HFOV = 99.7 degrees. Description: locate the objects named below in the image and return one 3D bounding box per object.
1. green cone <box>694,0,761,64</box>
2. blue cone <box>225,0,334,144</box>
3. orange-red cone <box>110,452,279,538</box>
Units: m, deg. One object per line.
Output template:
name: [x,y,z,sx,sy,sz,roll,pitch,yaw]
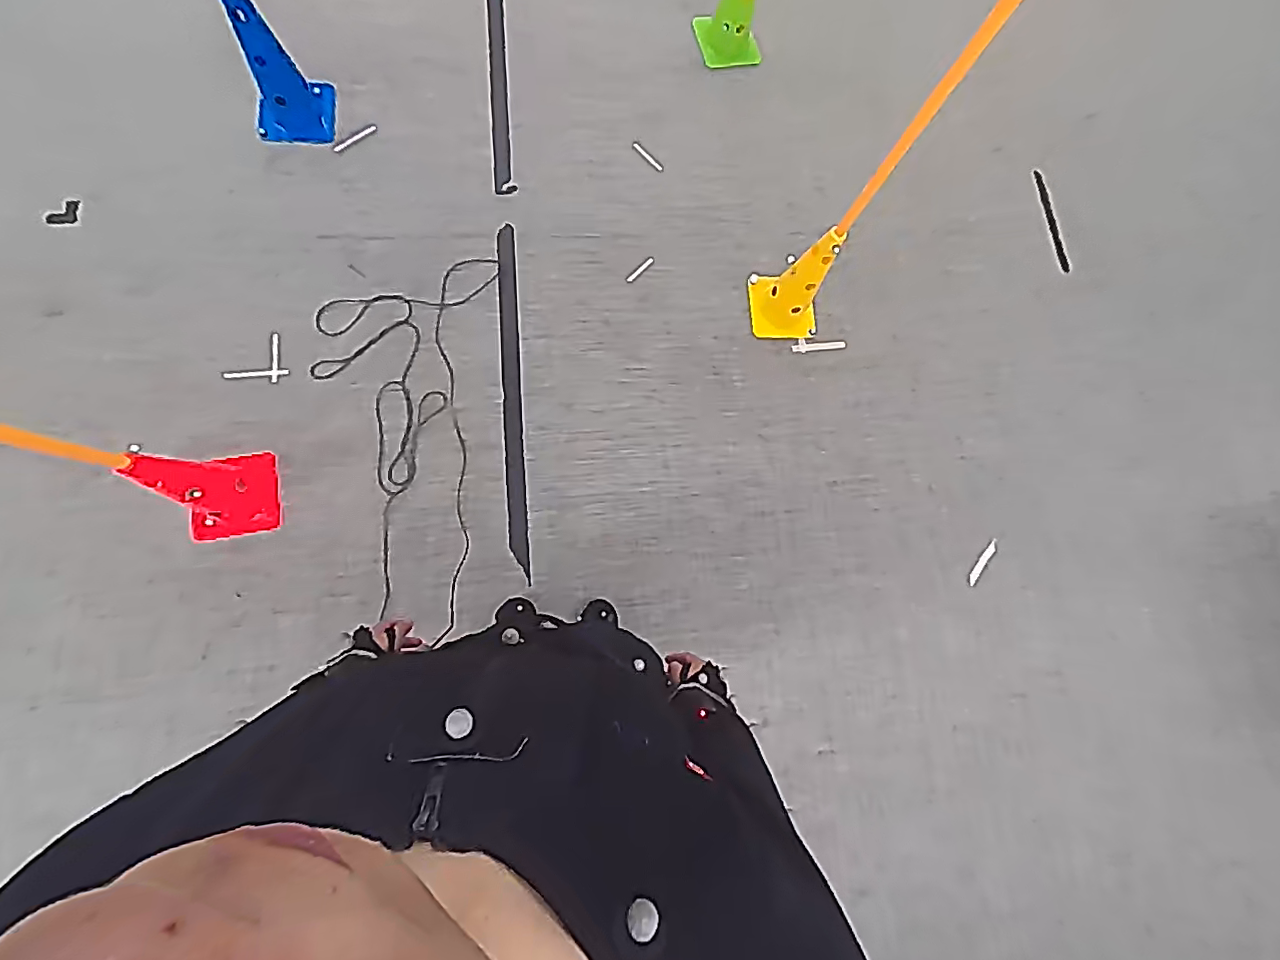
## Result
green cone: [0.316,-1.512,1.638,0.200,0.368,0.202,-15,83,-10]
blue cone: [-0.955,-1.083,1.389,0.193,0.380,0.192,-1,79,-8]
orange-red cone: [-0.963,0.001,1.148,0.199,0.360,0.198,-9,80,-11]
